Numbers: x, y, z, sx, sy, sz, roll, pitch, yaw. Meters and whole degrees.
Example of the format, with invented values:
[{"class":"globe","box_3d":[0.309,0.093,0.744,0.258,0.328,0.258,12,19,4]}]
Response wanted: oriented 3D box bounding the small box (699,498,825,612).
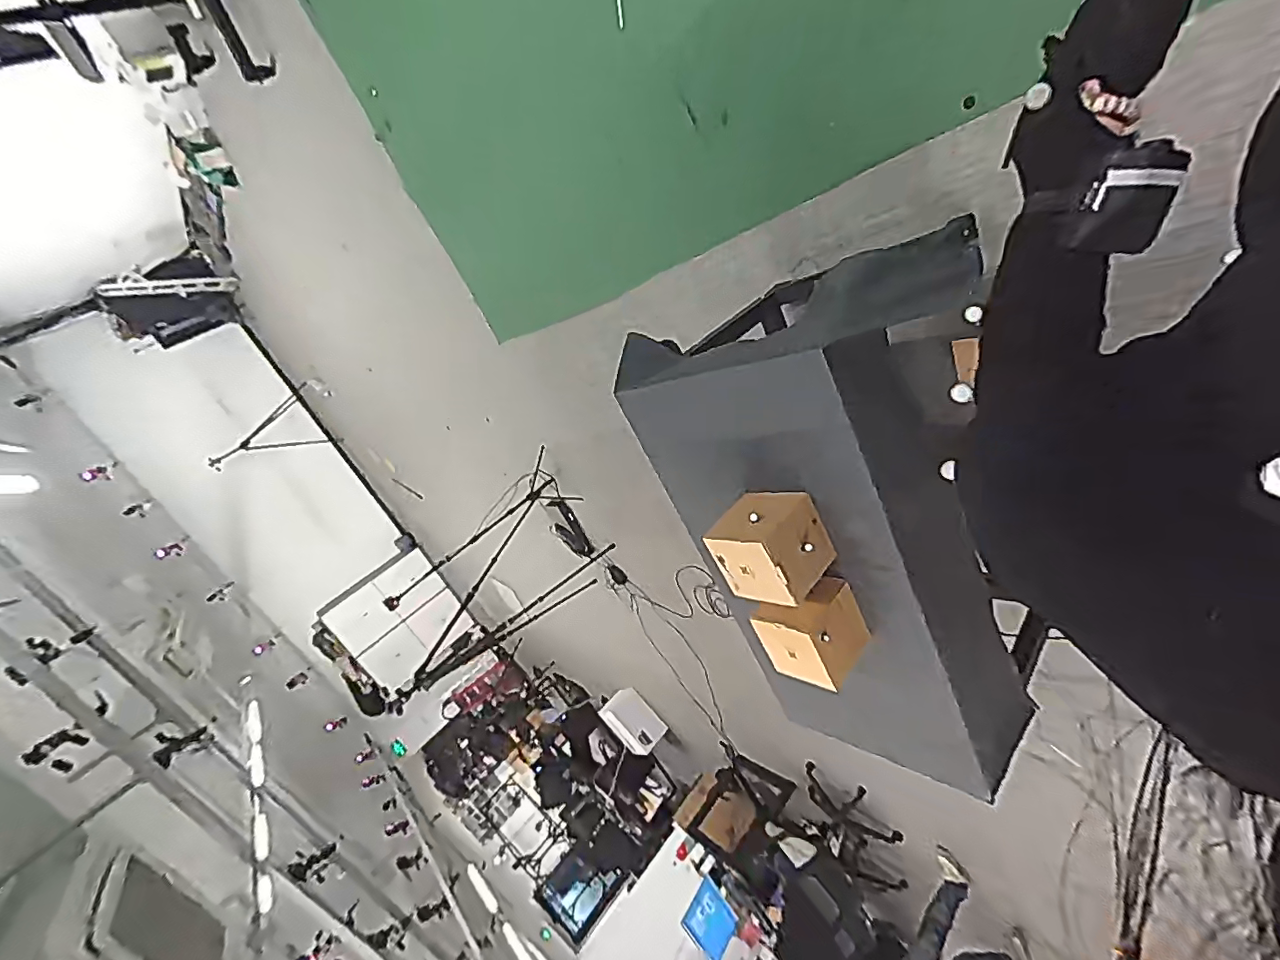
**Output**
[{"class":"small box","box_3d":[0.262,0.148,1.133,0.179,0.176,0.168,-4,121,53]}]
